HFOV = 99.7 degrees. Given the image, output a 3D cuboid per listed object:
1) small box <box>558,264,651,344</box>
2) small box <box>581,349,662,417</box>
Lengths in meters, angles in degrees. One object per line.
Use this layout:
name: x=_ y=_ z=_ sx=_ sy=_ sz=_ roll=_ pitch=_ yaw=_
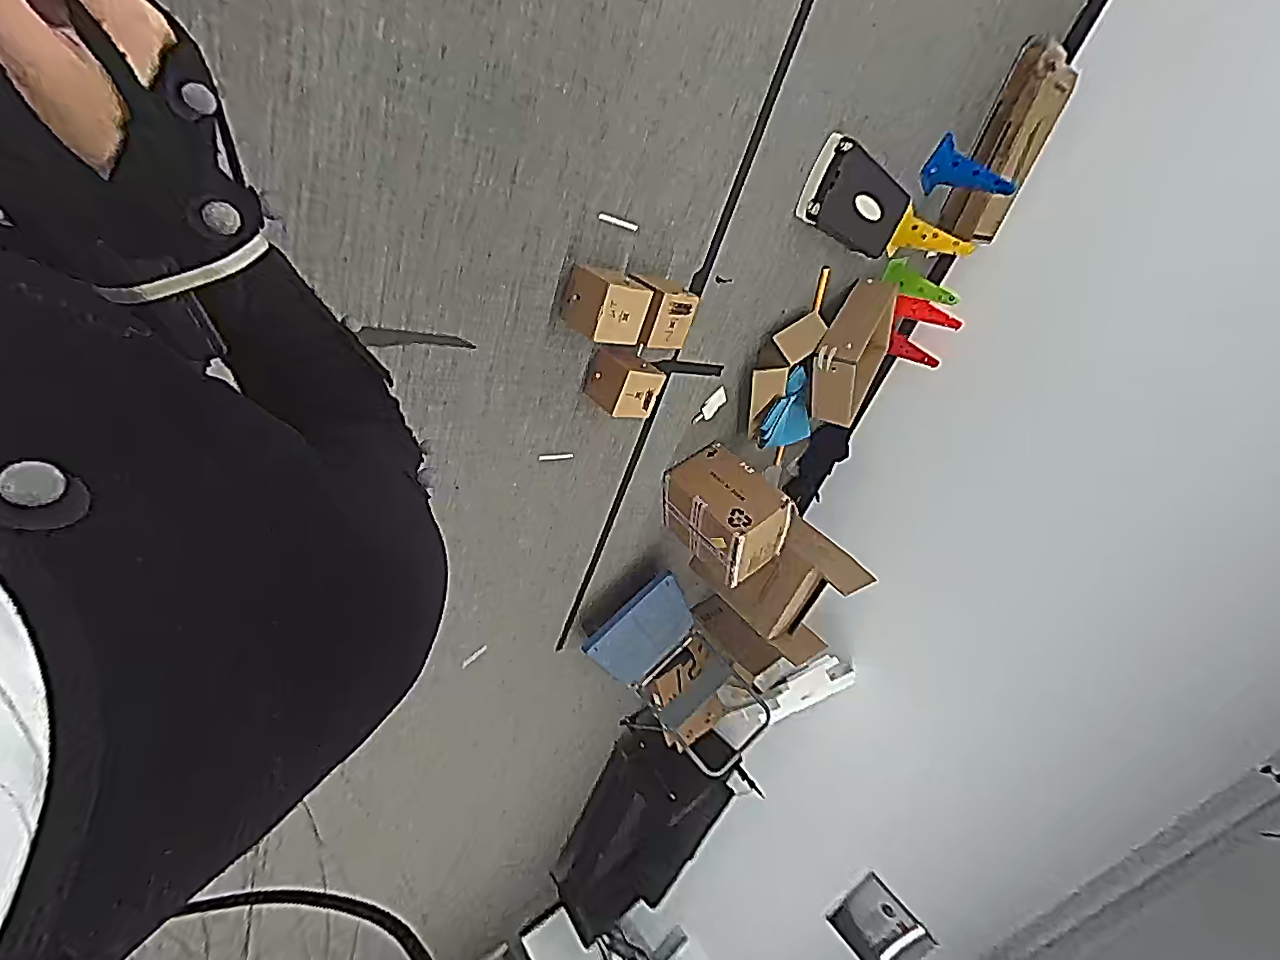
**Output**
small box: x=-0.106 y=-0.511 z=1.571 sx=0.179 sy=0.176 sz=0.168 roll=-9 pitch=130 yaw=-45
small box: x=-0.065 y=-0.326 z=1.815 sx=0.179 sy=0.176 sz=0.168 roll=-4 pitch=127 yaw=-47
